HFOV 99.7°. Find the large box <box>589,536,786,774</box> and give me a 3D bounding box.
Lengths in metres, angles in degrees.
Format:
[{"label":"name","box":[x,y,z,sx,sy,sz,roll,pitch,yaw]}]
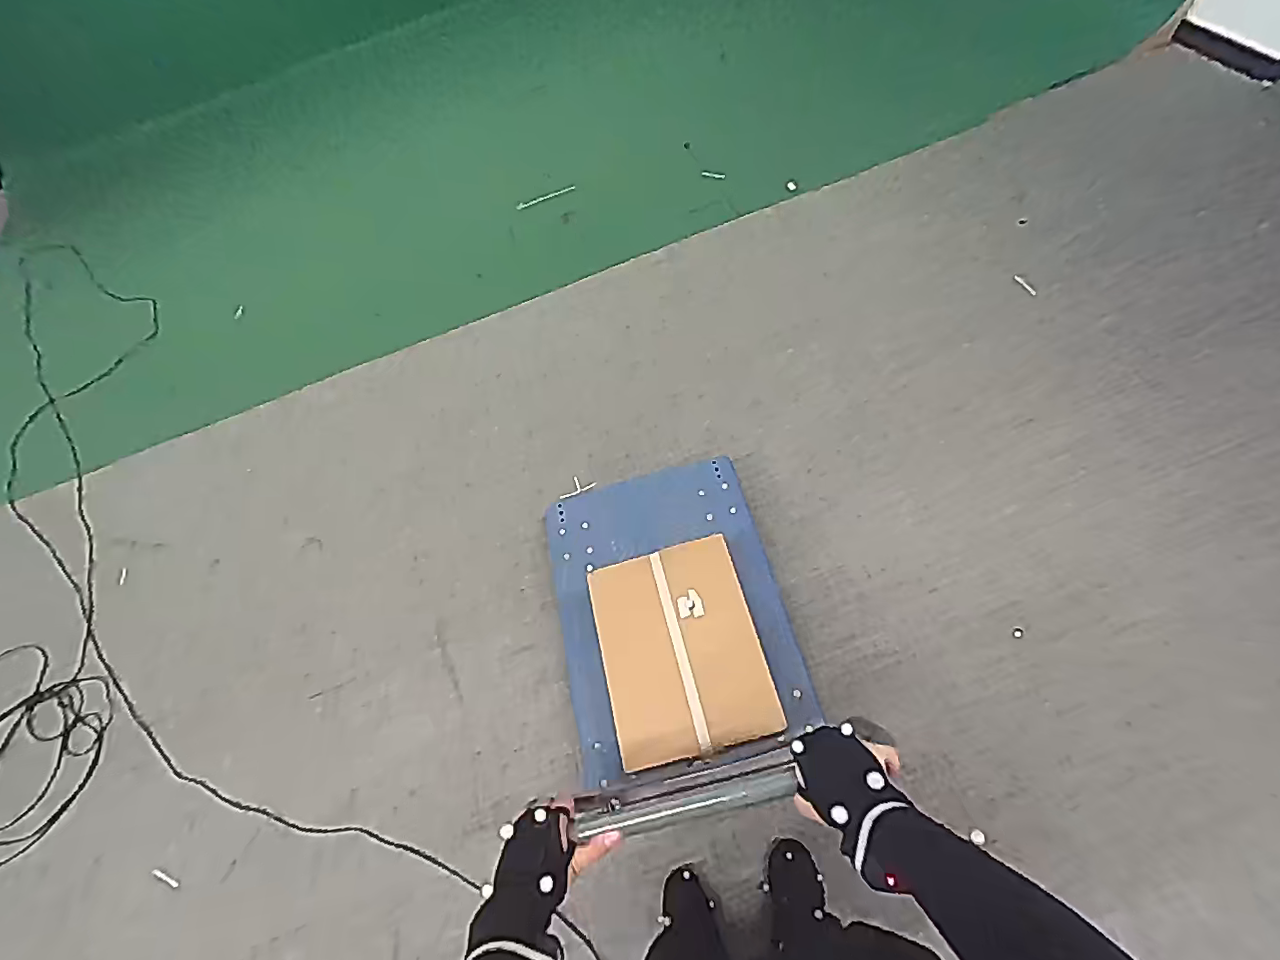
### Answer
[{"label":"large box","box":[0.104,0.400,1.215,0.320,0.320,0.408,-16,59,2]}]
